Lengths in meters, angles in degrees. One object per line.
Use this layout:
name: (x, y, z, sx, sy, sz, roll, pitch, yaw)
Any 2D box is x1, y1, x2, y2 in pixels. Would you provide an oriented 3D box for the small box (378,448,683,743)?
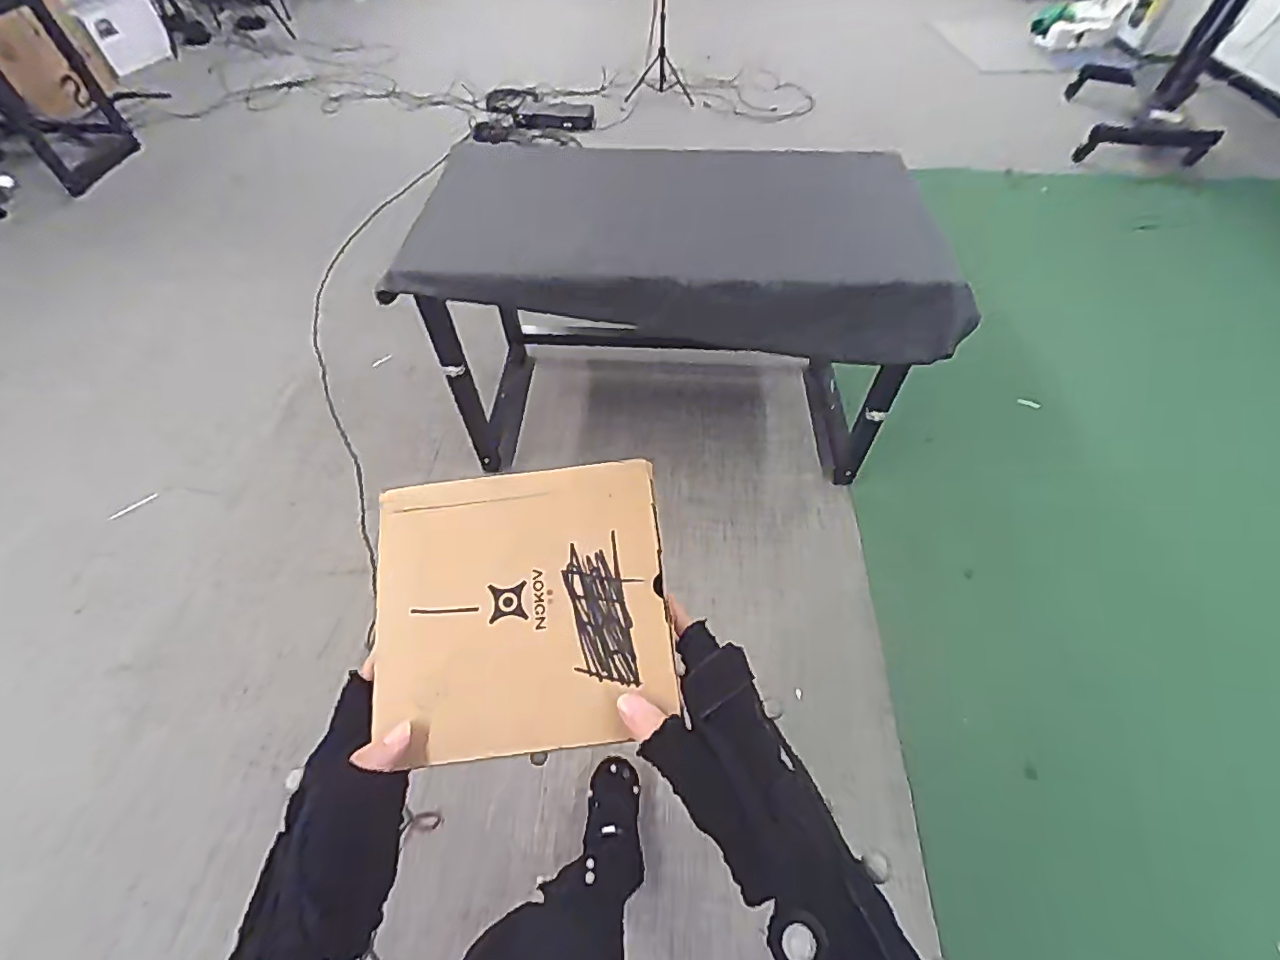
small box: (-0.070, 0.087, 0.406, 0.179, 0.176, 0.168, -6, 73, -1)
